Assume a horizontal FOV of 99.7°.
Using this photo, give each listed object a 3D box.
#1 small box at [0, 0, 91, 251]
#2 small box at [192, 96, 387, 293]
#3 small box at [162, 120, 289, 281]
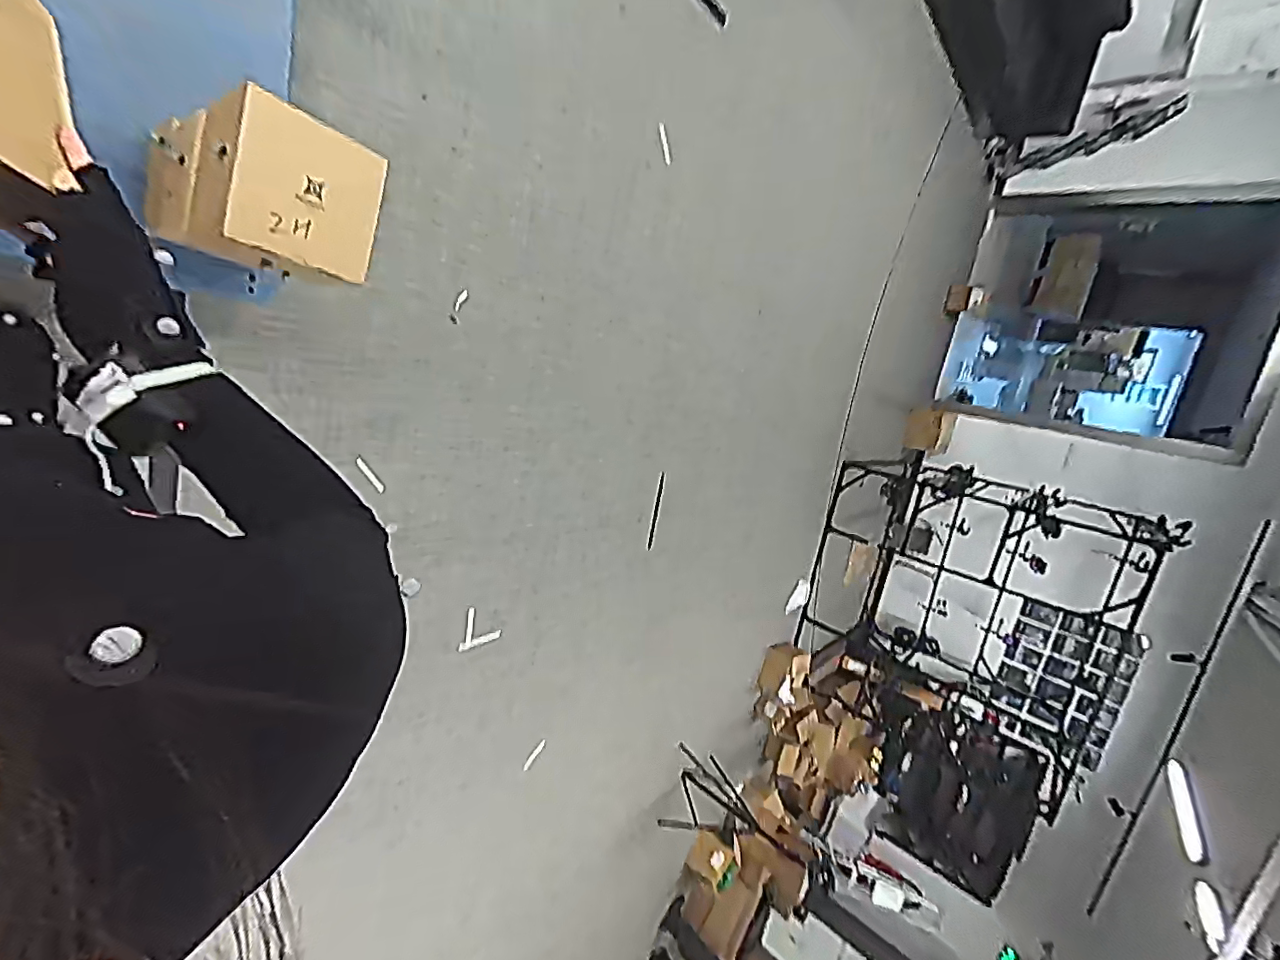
[{"bbox_3d":[-0.503,-0.254,0.323,0.179,0.168,0.176,-13,88,-6],"label":"small box"},{"bbox_3d":[-0.480,-0.374,0.738,0.168,0.176,0.179,8,99,-53],"label":"small box"},{"bbox_3d":[-0.606,-0.414,0.838,0.179,0.176,0.168,5,101,-53],"label":"small box"}]
